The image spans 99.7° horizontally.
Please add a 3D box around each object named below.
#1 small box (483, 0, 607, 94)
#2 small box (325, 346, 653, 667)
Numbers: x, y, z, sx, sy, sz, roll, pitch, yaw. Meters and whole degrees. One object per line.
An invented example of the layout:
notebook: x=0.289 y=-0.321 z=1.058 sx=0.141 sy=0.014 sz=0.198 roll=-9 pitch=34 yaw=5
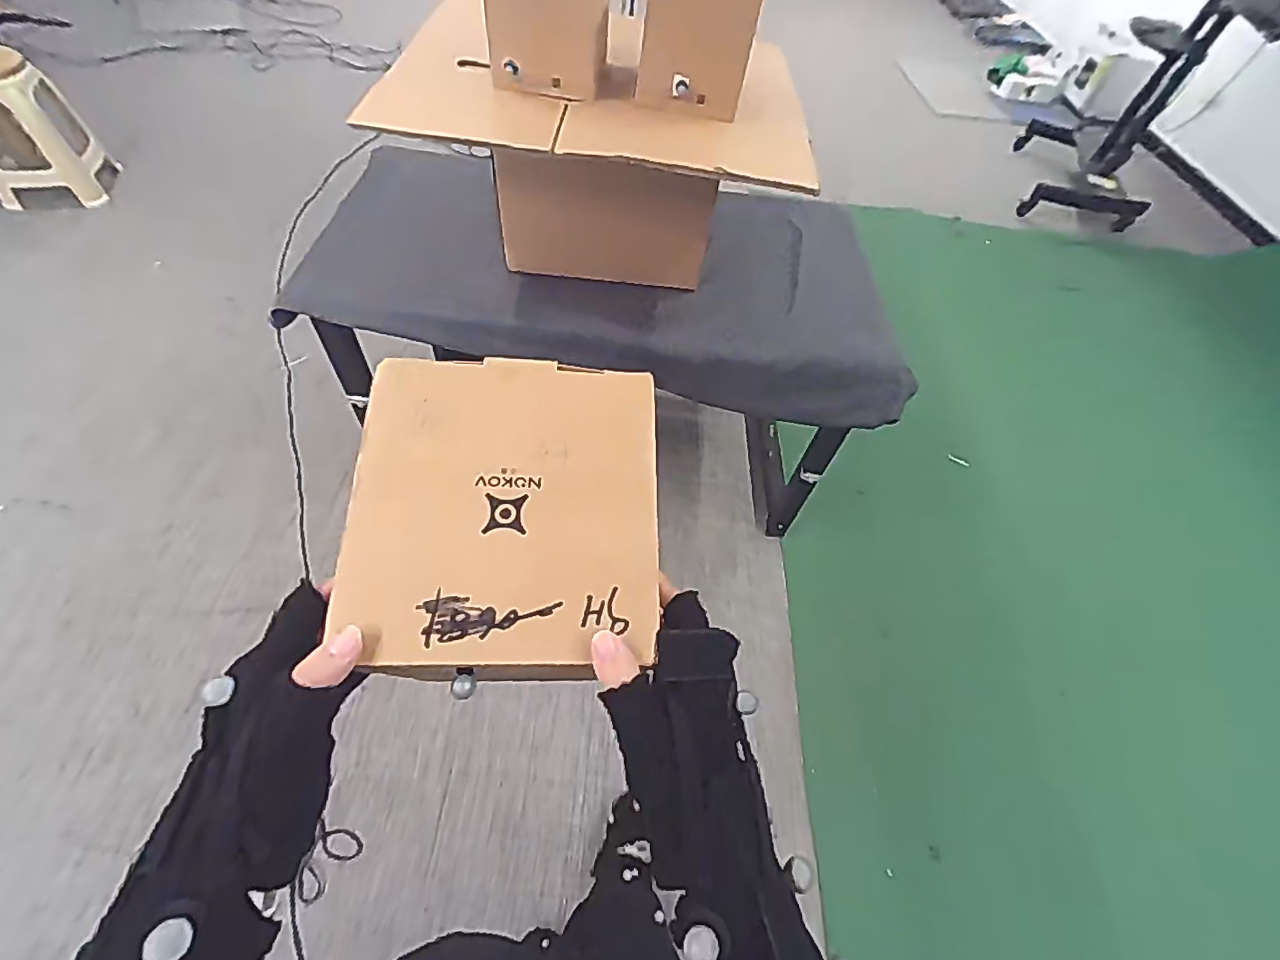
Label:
small box: x=-0.142 y=-0.741 z=0.850 sx=0.168 sy=0.176 sz=0.179 roll=8 pitch=55 yaw=-2
small box: x=-0.084 y=0.032 z=0.378 sx=0.168 sy=0.176 sz=0.179 roll=2 pitch=68 yaw=-6
